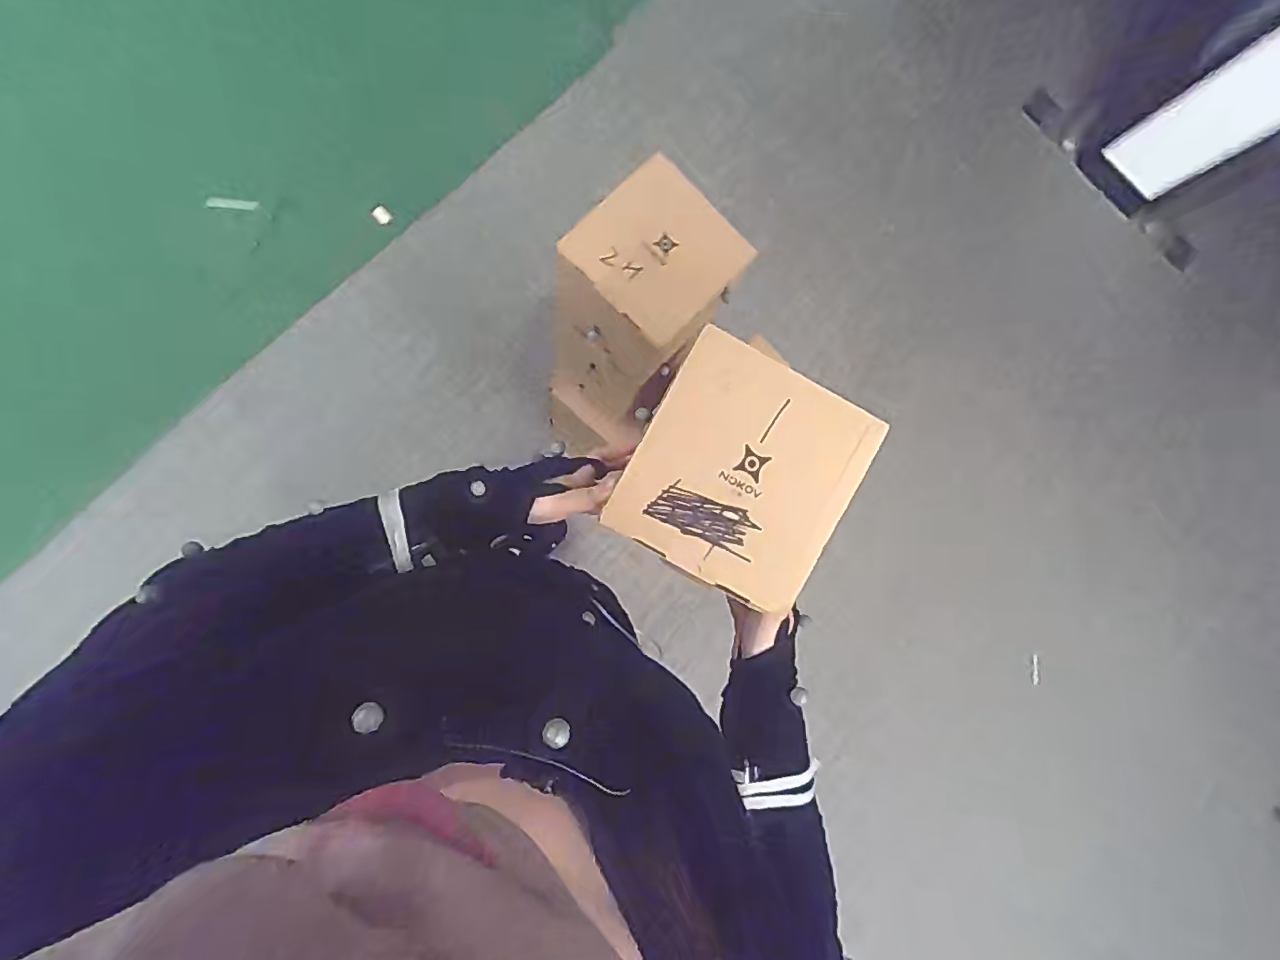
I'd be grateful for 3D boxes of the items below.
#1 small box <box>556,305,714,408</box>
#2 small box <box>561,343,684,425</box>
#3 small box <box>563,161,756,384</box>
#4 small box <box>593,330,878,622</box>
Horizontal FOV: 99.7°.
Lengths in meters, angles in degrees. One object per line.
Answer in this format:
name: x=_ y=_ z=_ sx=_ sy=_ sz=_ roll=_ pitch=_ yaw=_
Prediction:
small box: x=-0.014 y=-0.237 z=0.865 sx=0.168 sy=0.176 sz=0.179 roll=45 pitch=81 yaw=-4
small box: x=-0.037 y=-0.229 z=1.028 sx=0.168 sy=0.176 sz=0.179 roll=44 pitch=81 yaw=-4
small box: x=0.012 y=-0.254 z=0.703 sx=0.168 sy=0.176 sz=0.179 roll=45 pitch=81 yaw=-4
small box: x=0.072 y=-0.003 z=0.496 sx=0.168 sy=0.176 sz=0.179 roll=29 pitch=89 yaw=-3
